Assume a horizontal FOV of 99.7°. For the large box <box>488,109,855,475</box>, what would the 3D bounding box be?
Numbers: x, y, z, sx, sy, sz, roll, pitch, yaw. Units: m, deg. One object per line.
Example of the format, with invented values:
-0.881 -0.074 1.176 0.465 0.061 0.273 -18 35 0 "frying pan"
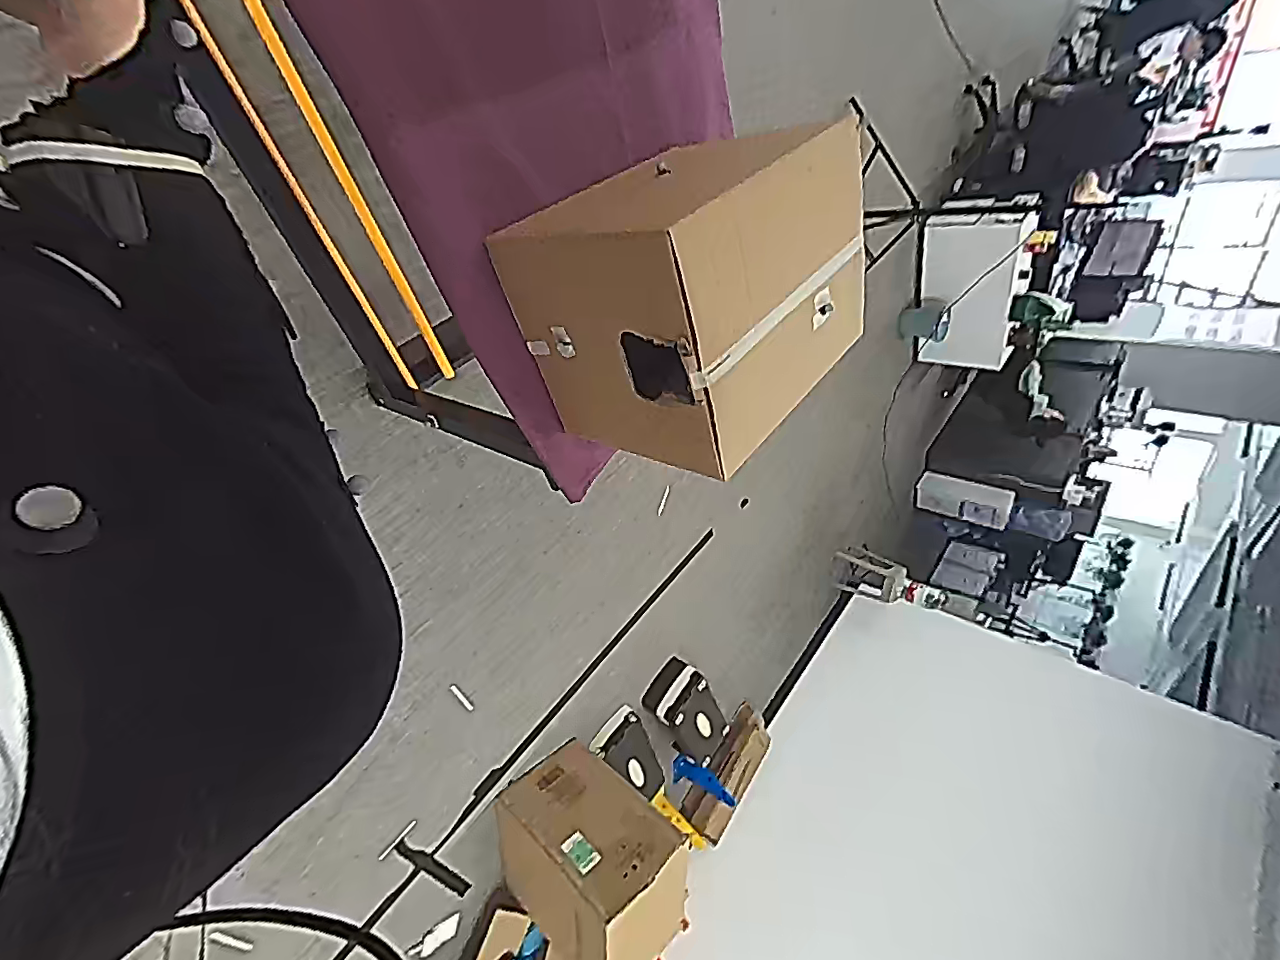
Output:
0.071 -0.273 0.777 0.408 0.320 0.320 -45 135 -30 "large box"
